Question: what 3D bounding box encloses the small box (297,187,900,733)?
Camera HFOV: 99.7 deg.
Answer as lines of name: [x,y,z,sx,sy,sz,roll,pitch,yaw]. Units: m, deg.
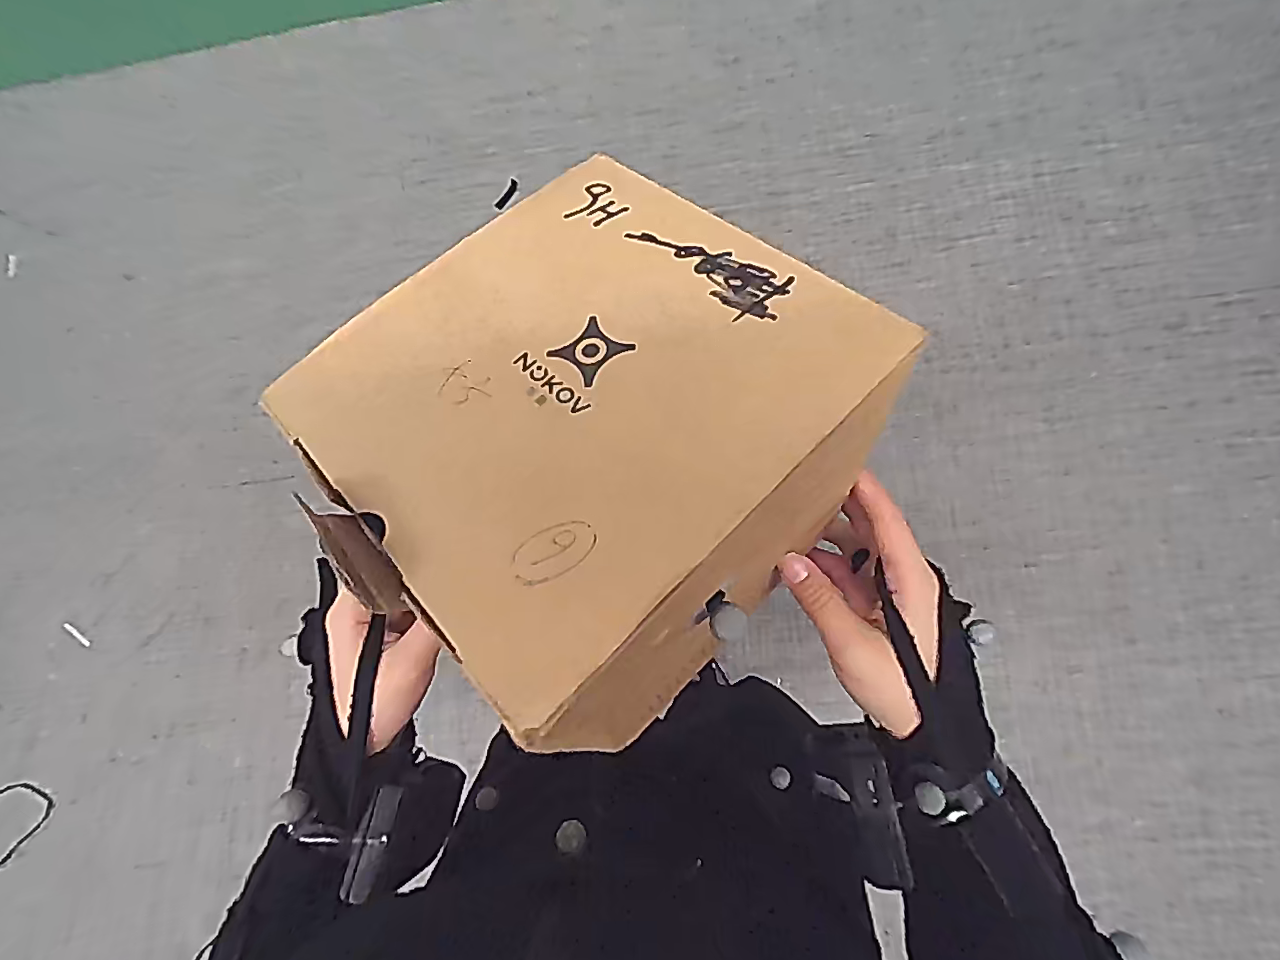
small box: [-0.012,0.004,0.272,0.179,0.176,0.168,-43,66,-14]
